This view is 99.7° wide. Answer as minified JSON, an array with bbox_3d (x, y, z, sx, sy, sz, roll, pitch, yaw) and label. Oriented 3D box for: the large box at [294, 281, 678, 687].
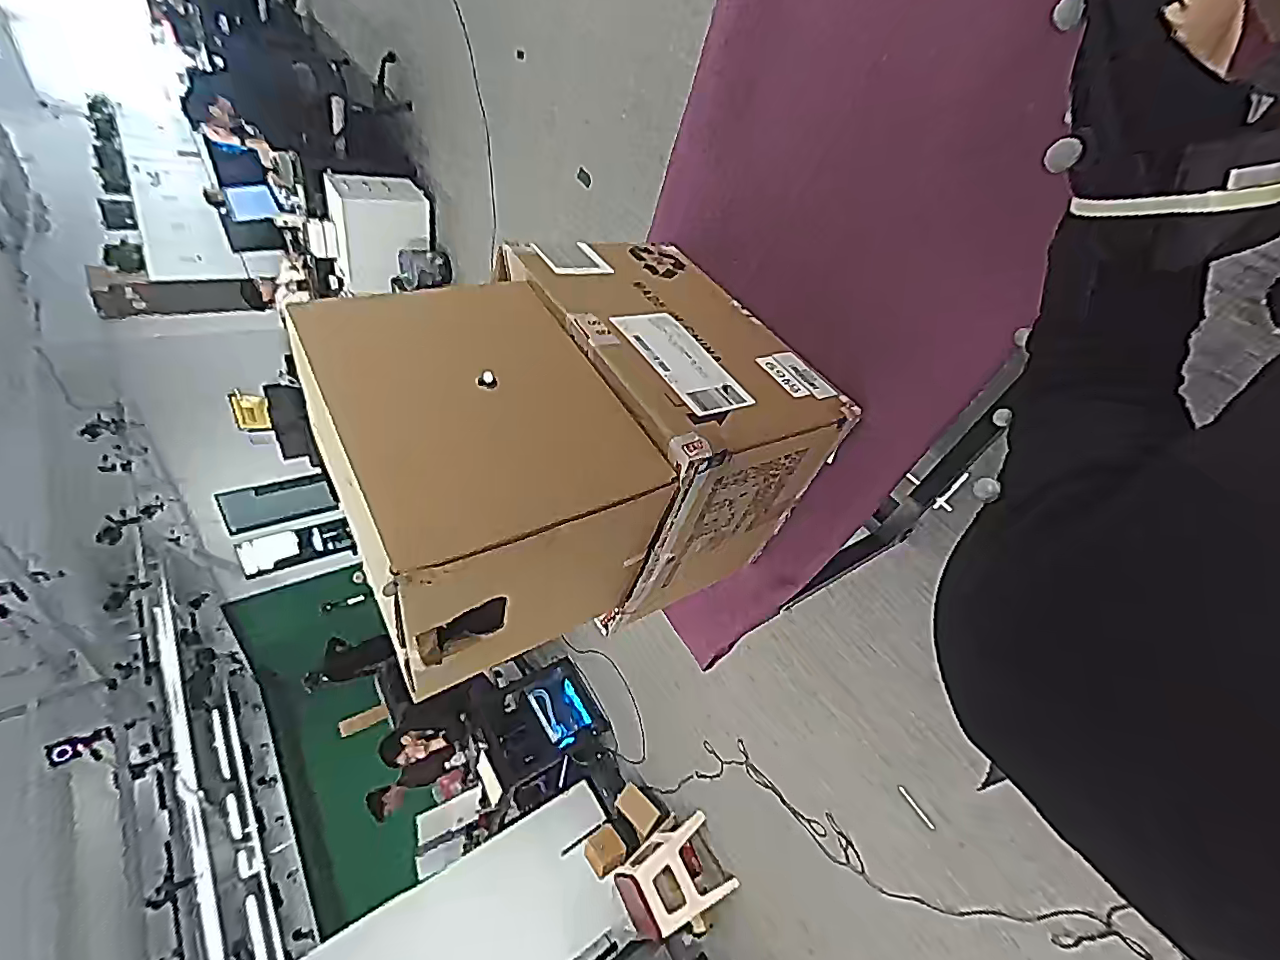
[{"bbox_3d":[-0.215,-0.021,0.729,0.408,0.320,0.320,53,146,28],"label":"large box"}]
